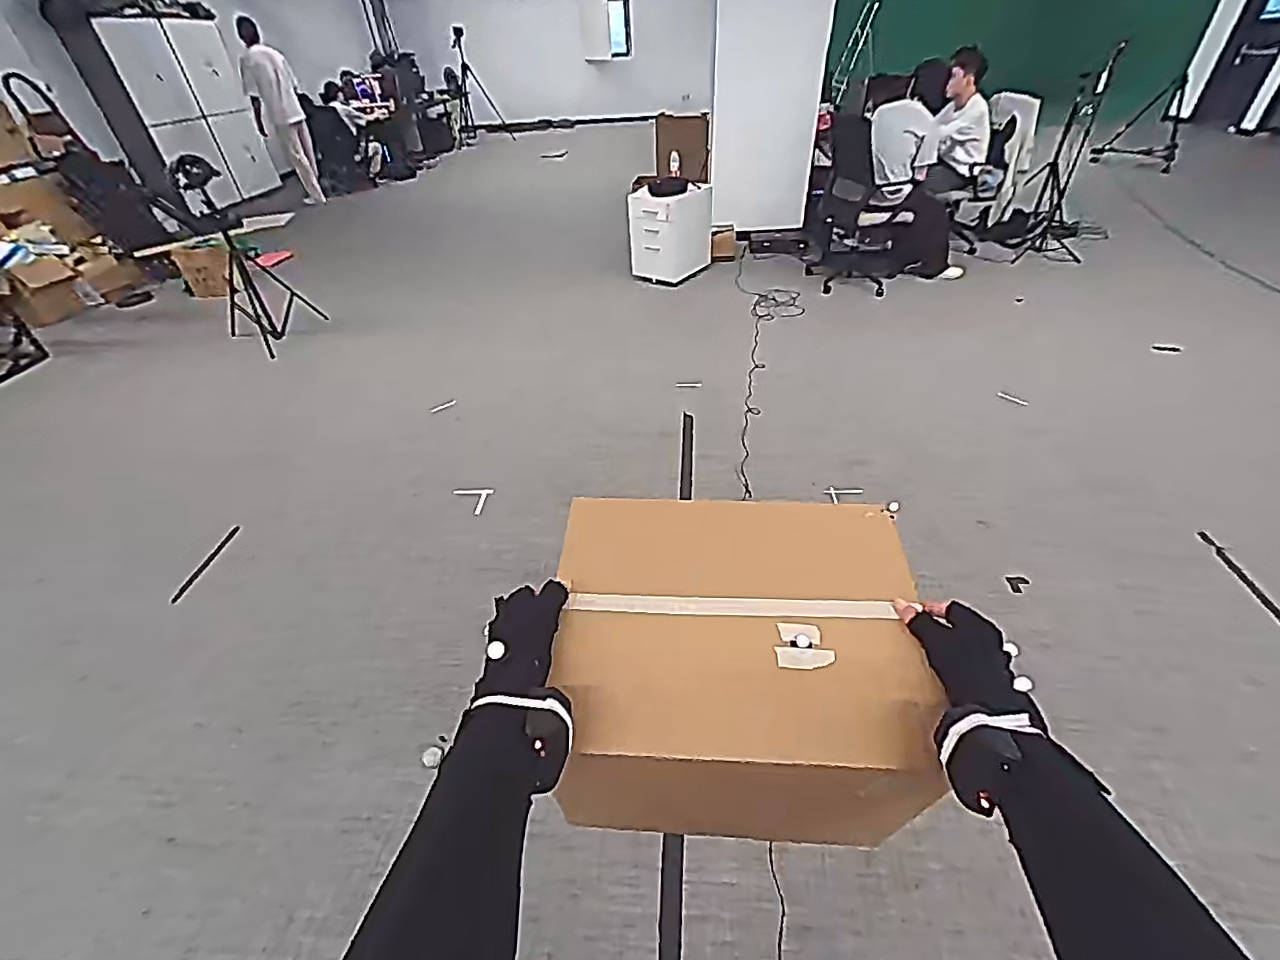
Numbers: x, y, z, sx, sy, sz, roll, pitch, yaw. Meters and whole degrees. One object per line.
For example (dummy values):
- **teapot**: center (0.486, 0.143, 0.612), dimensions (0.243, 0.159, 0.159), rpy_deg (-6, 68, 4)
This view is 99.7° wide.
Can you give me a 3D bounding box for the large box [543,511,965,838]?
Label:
- **large box**: center (0.112, 0.255, 0.713), dimensions (0.408, 0.320, 0.320), rpy_deg (1, 47, 3)
